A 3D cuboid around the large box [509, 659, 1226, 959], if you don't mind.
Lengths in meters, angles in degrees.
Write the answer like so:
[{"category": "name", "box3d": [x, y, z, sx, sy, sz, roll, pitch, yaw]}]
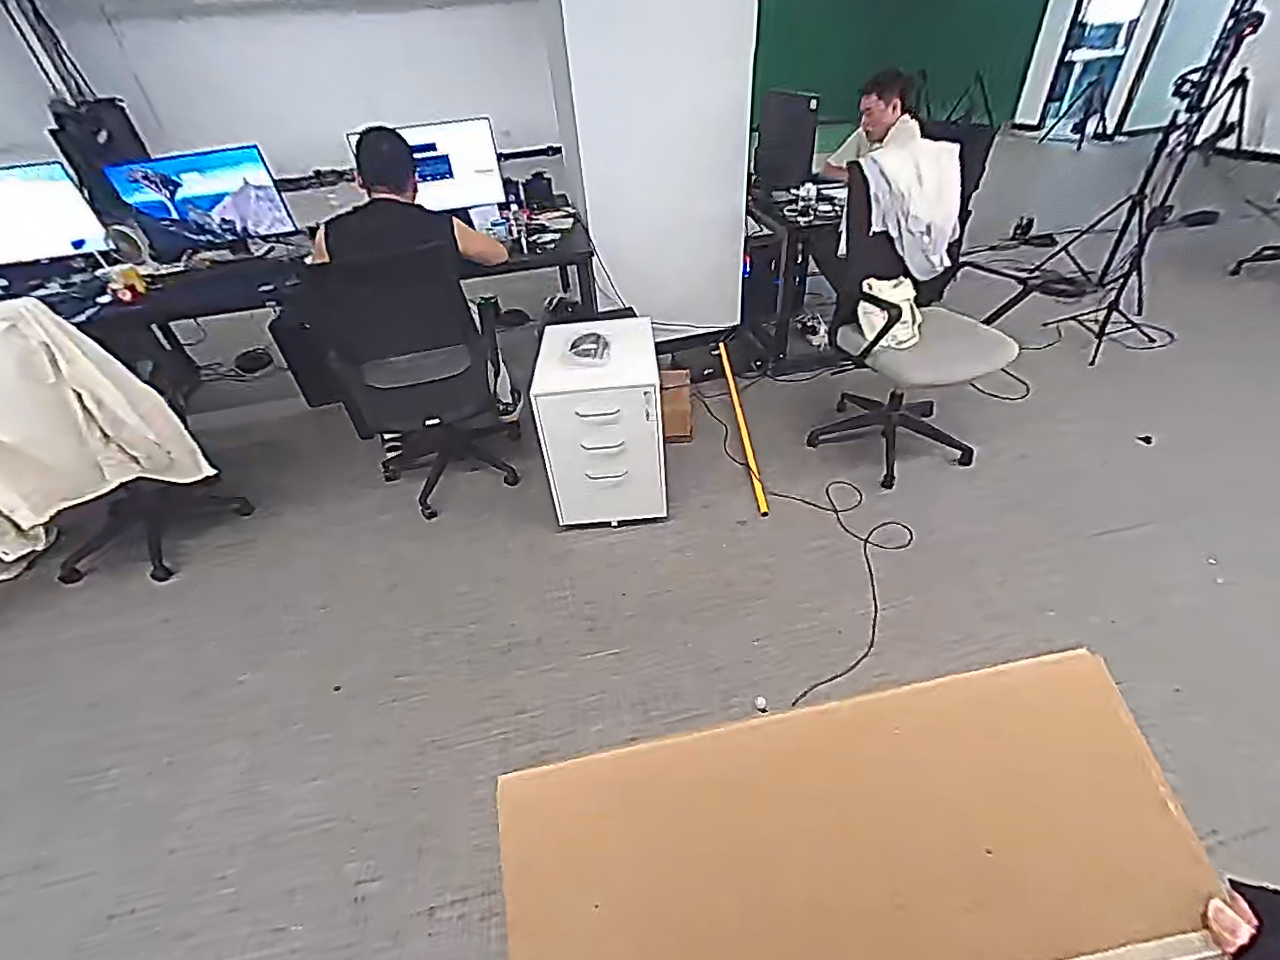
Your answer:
[{"category": "large box", "box3d": [0.150, 0.361, 0.443, 0.408, 0.320, 0.320, -13, 65, 1]}]
